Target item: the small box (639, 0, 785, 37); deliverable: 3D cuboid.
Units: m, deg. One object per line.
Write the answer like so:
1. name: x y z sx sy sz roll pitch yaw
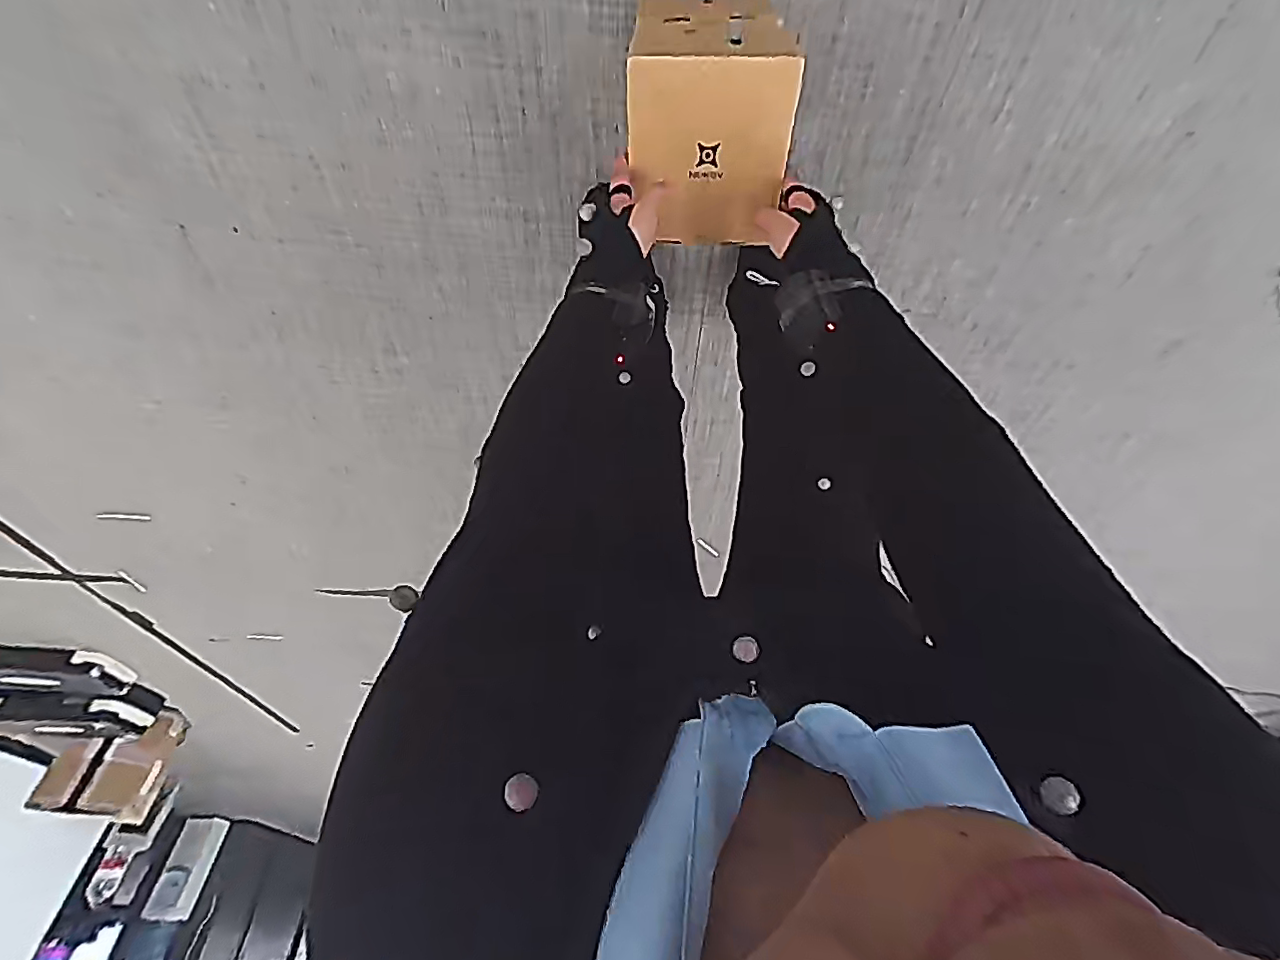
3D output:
1. small box: 0.084 -0.516 0.716 0.168 0.176 0.179 0 138 2

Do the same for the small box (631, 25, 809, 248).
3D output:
1. small box: 0.075 -0.382 0.600 0.168 0.176 0.179 2 139 3
